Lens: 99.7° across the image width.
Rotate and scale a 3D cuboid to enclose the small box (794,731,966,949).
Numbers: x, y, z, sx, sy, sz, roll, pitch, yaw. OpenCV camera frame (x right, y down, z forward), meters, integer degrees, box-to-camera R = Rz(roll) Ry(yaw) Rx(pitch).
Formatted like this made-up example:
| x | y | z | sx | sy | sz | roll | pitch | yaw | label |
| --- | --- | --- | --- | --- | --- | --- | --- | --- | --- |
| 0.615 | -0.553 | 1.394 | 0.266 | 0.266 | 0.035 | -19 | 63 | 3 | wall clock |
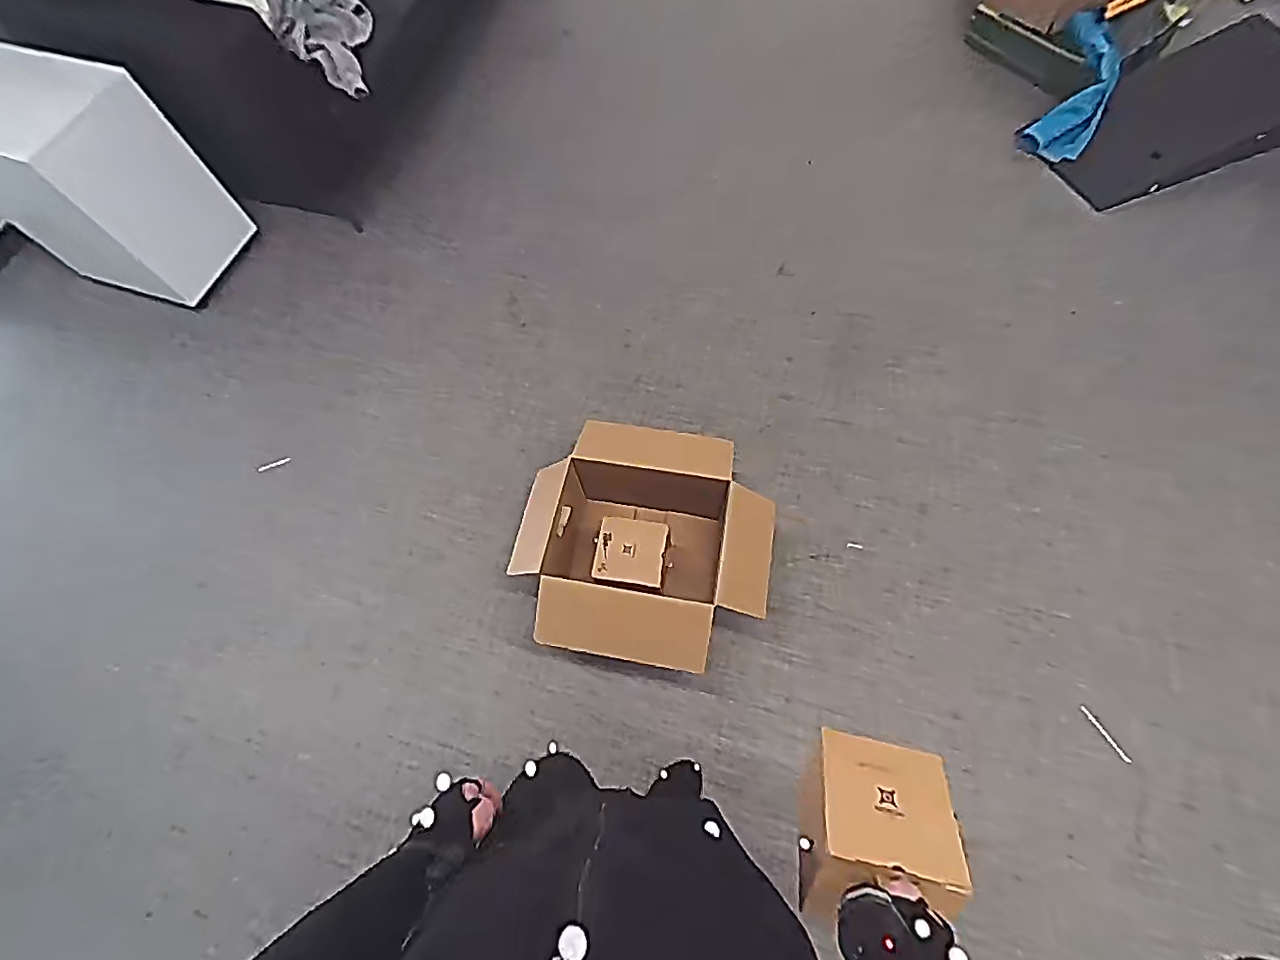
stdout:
| x | y | z | sx | sy | sz | roll | pitch | yaw | label |
| --- | --- | --- | --- | --- | --- | --- | --- | --- | --- |
| 0.313 | 0.491 | 0.744 | 0.168 | 0.176 | 0.179 | 11 | 29 | 10 | small box |
